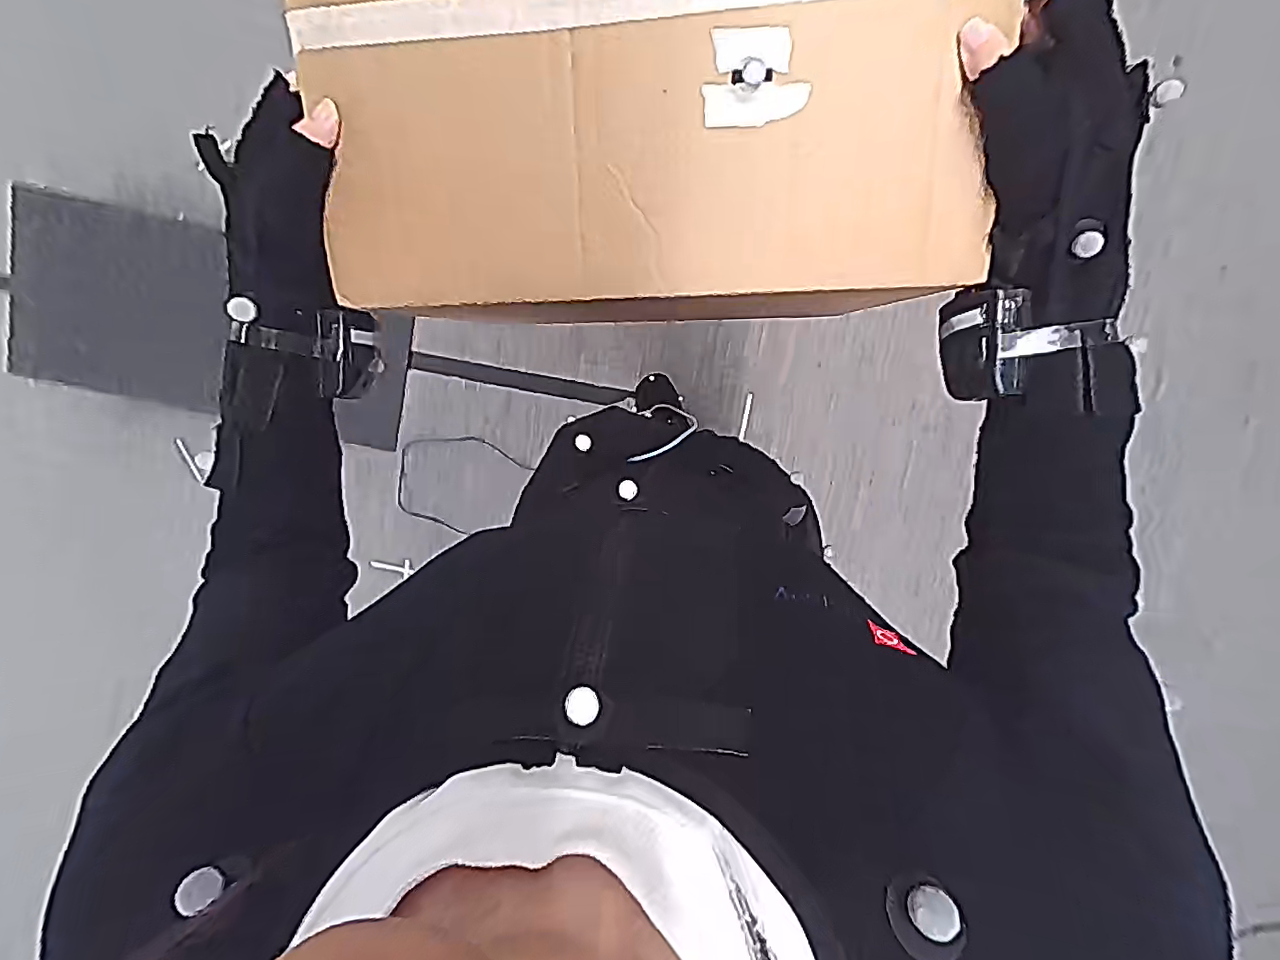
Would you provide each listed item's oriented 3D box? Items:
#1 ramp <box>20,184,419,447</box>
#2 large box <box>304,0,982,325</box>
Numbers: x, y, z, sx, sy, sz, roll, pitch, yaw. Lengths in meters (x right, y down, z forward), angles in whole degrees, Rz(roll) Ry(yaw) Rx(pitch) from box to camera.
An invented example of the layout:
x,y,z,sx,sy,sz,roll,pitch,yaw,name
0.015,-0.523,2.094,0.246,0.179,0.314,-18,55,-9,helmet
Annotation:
x,y,z,sx,sy,sz,roll,pitch,yaw,name
-1.120,-0.424,1.456,0.991,0.206,0.509,12,98,5,ramp
0.004,-0.310,0.459,0.408,0.320,0.320,-2,105,6,large box
